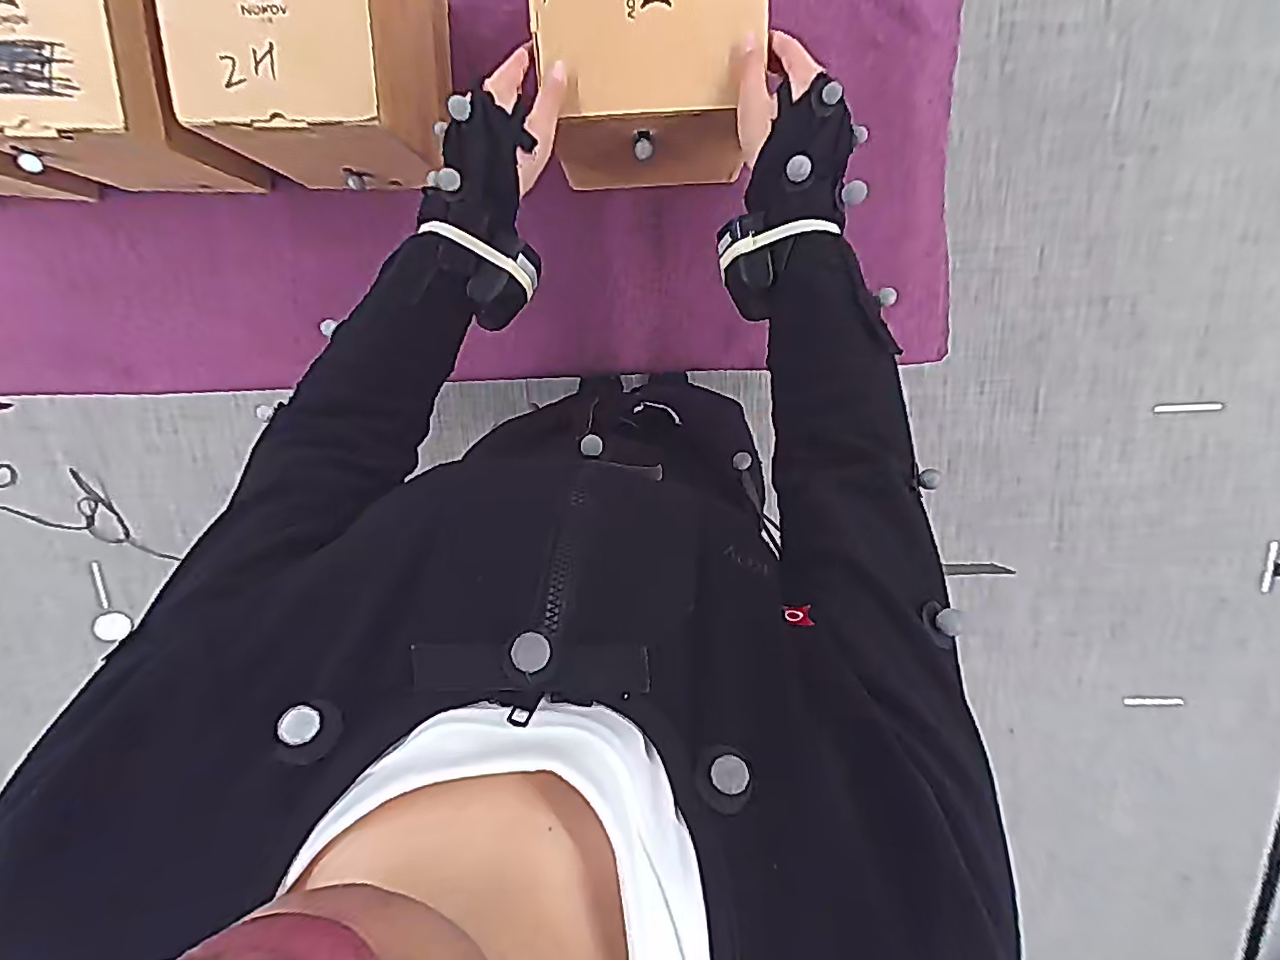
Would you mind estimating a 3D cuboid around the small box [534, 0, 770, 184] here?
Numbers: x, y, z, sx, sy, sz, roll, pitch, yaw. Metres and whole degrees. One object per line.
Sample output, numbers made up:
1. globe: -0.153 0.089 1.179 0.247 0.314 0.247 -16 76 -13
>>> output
1. small box: 0.011 -0.376 0.473 0.179 0.176 0.168 -1 102 4
